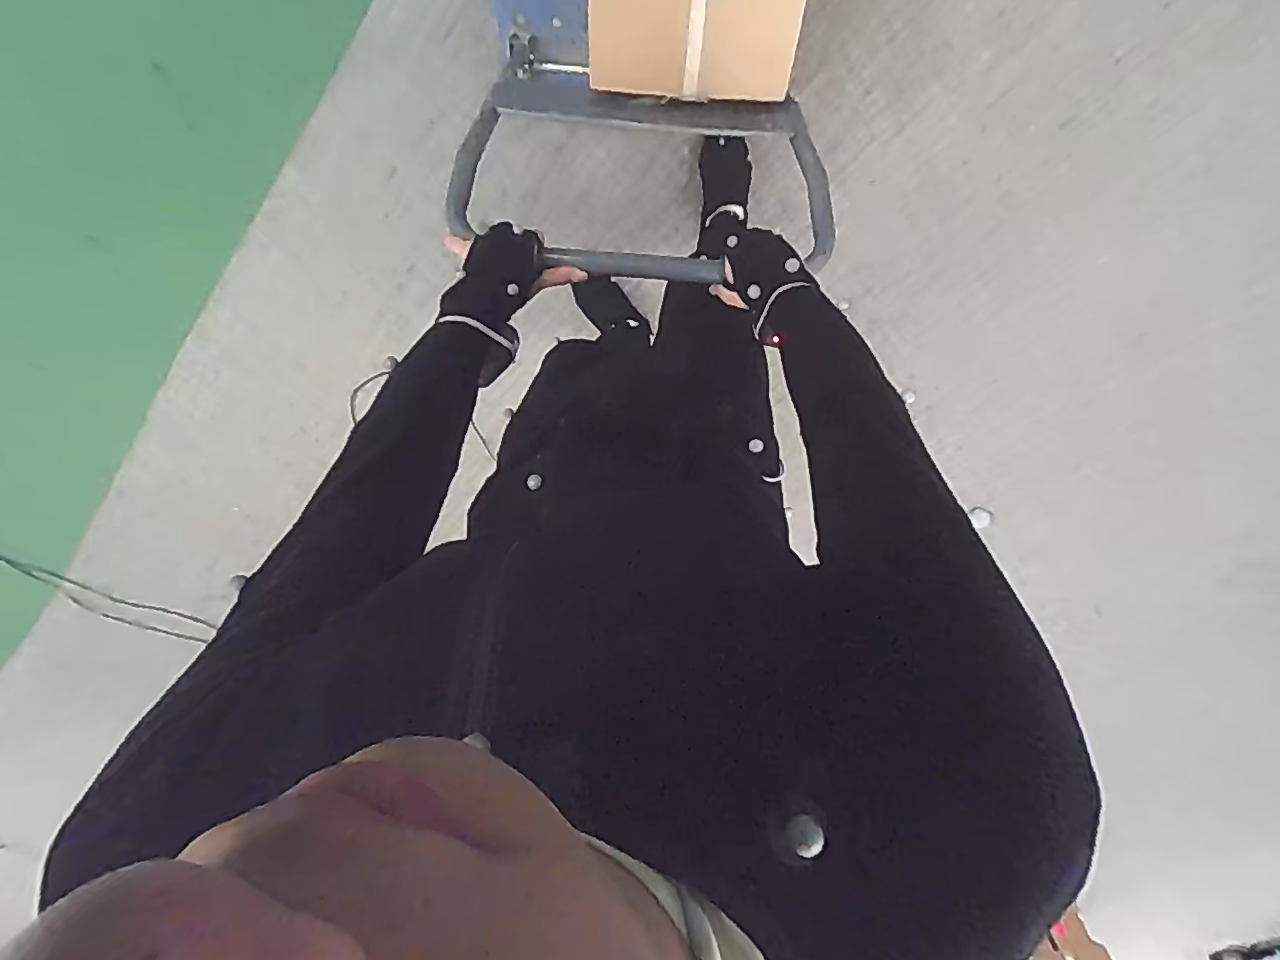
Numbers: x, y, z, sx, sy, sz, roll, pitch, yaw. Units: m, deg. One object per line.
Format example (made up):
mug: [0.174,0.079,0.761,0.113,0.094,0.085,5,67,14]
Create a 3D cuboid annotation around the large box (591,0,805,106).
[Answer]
large box: [0.094,-0.857,0.830,0.320,0.320,0.408,3,138,-2]
